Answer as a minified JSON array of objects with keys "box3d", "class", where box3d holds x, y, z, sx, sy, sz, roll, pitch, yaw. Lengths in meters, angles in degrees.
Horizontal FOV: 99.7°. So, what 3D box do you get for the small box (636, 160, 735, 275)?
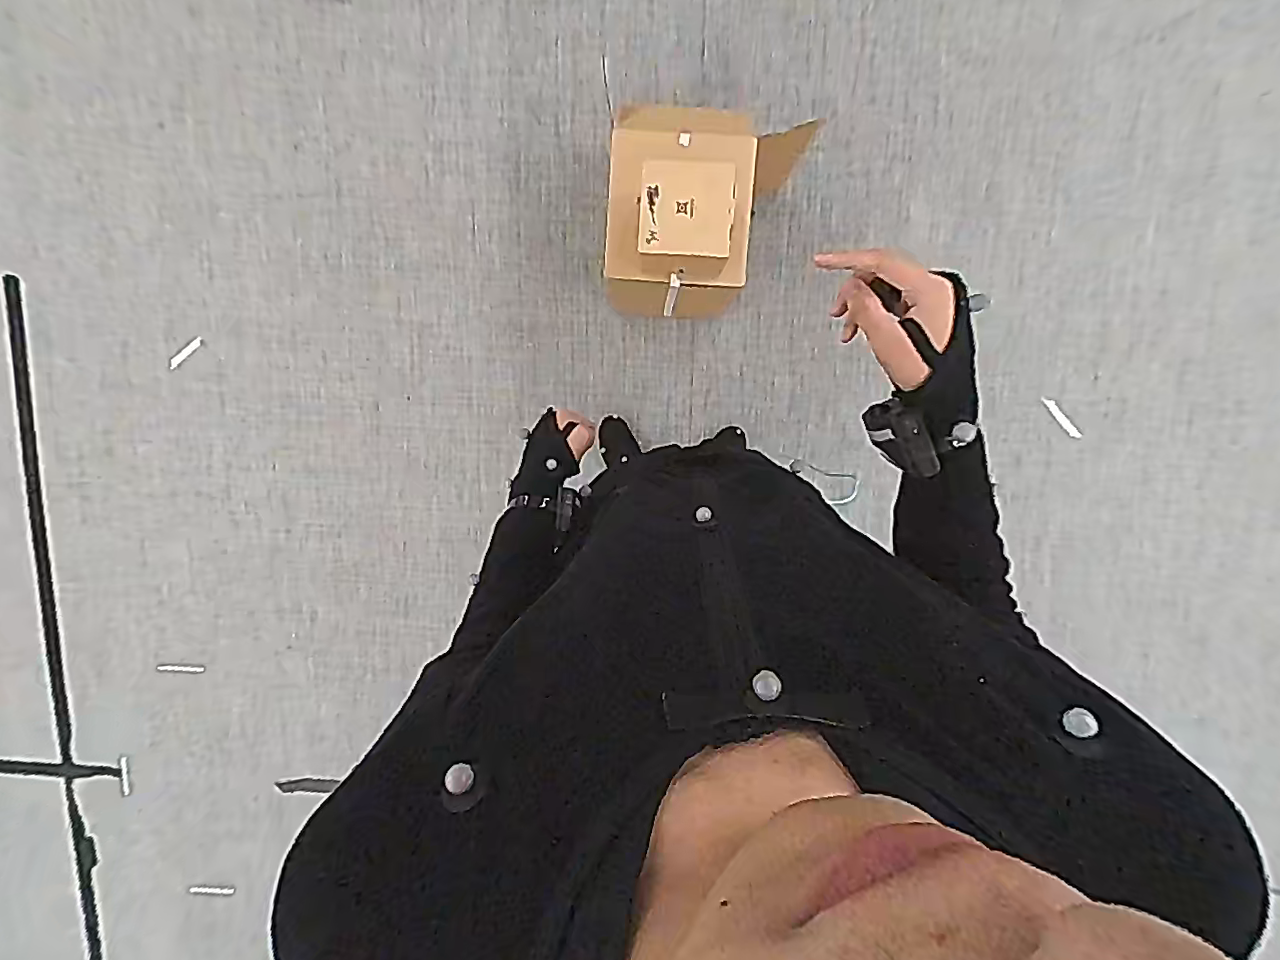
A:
[{"box3d":[0.086,-0.520,1.094,0.179,0.176,0.168,4,99,1],"class":"small box"}]
